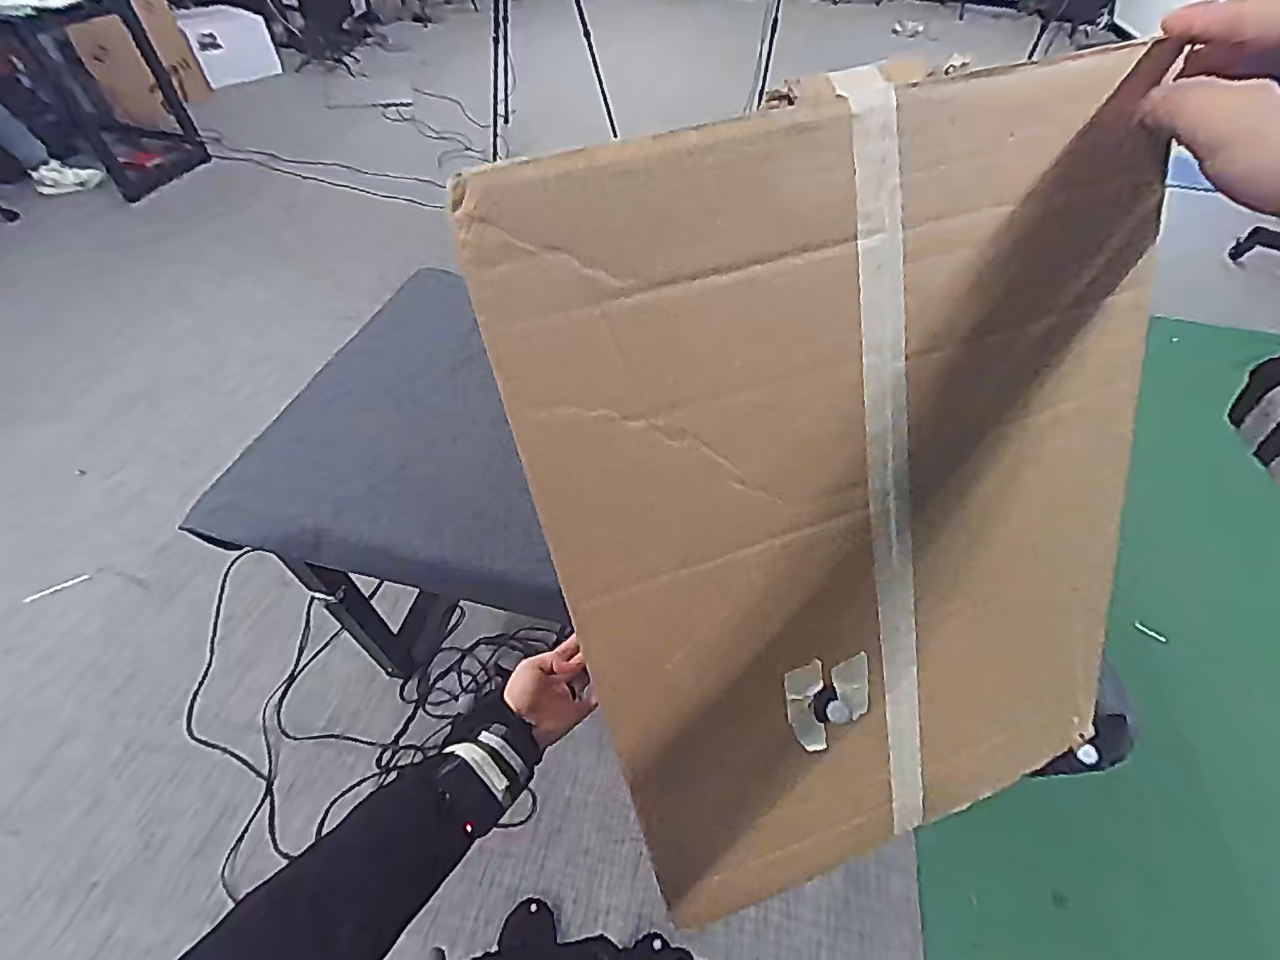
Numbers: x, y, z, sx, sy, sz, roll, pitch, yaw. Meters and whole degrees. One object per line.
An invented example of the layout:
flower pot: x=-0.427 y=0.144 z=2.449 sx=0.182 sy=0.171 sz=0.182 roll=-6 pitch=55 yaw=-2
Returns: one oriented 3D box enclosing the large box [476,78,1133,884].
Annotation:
large box: x=0.088 y=-0.012 z=0.431 sx=0.320 sy=0.408 sz=0.320 roll=-18 pitch=24 yaw=-10
